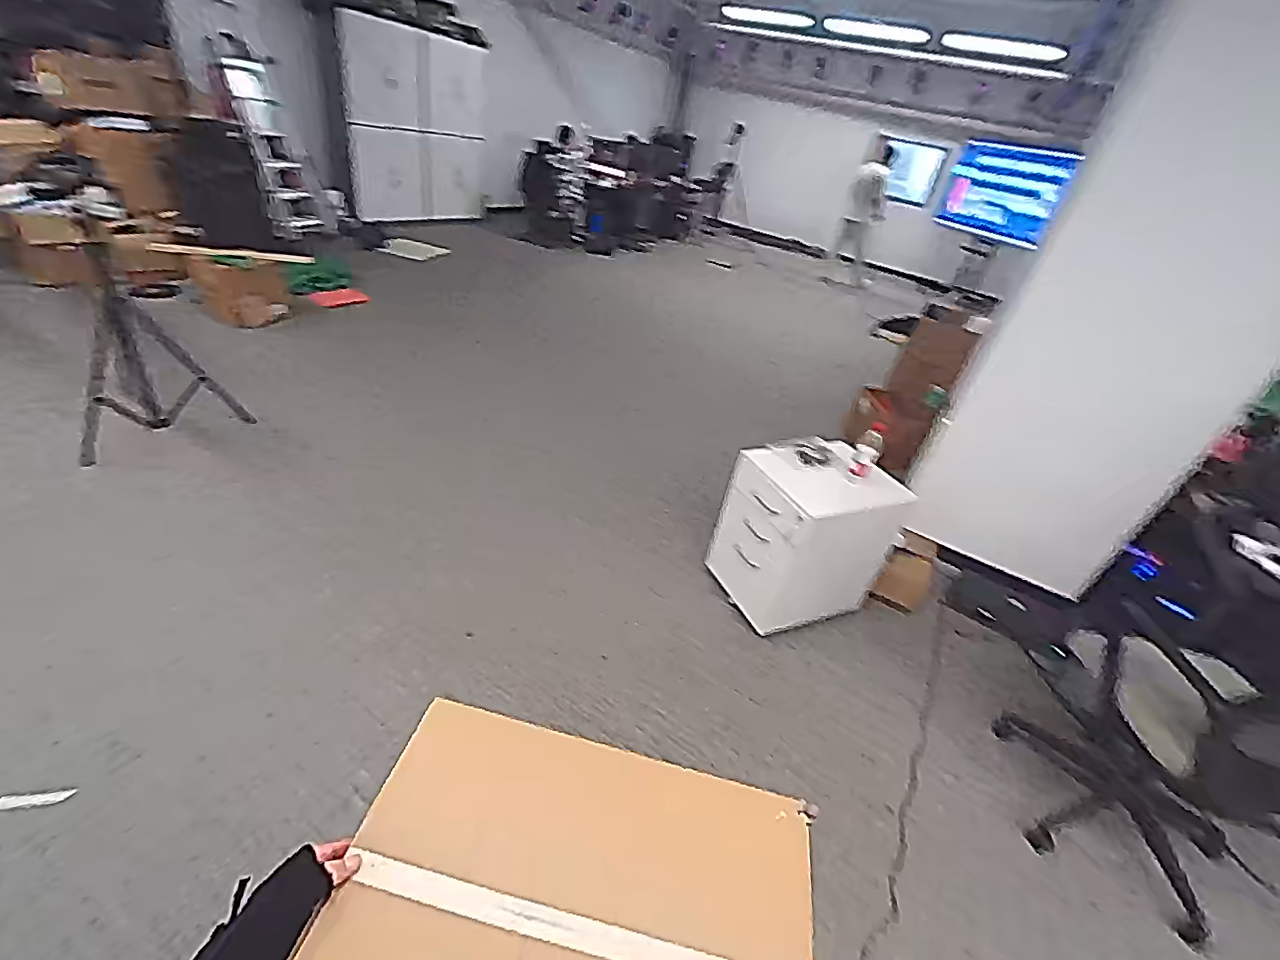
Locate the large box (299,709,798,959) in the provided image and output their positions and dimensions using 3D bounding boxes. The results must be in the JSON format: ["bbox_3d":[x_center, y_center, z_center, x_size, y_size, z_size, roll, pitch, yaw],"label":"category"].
[{"bbox_3d":[-0.087,0.494,0.545,0.408,0.320,0.320,14,37,2],"label":"large box"}]
